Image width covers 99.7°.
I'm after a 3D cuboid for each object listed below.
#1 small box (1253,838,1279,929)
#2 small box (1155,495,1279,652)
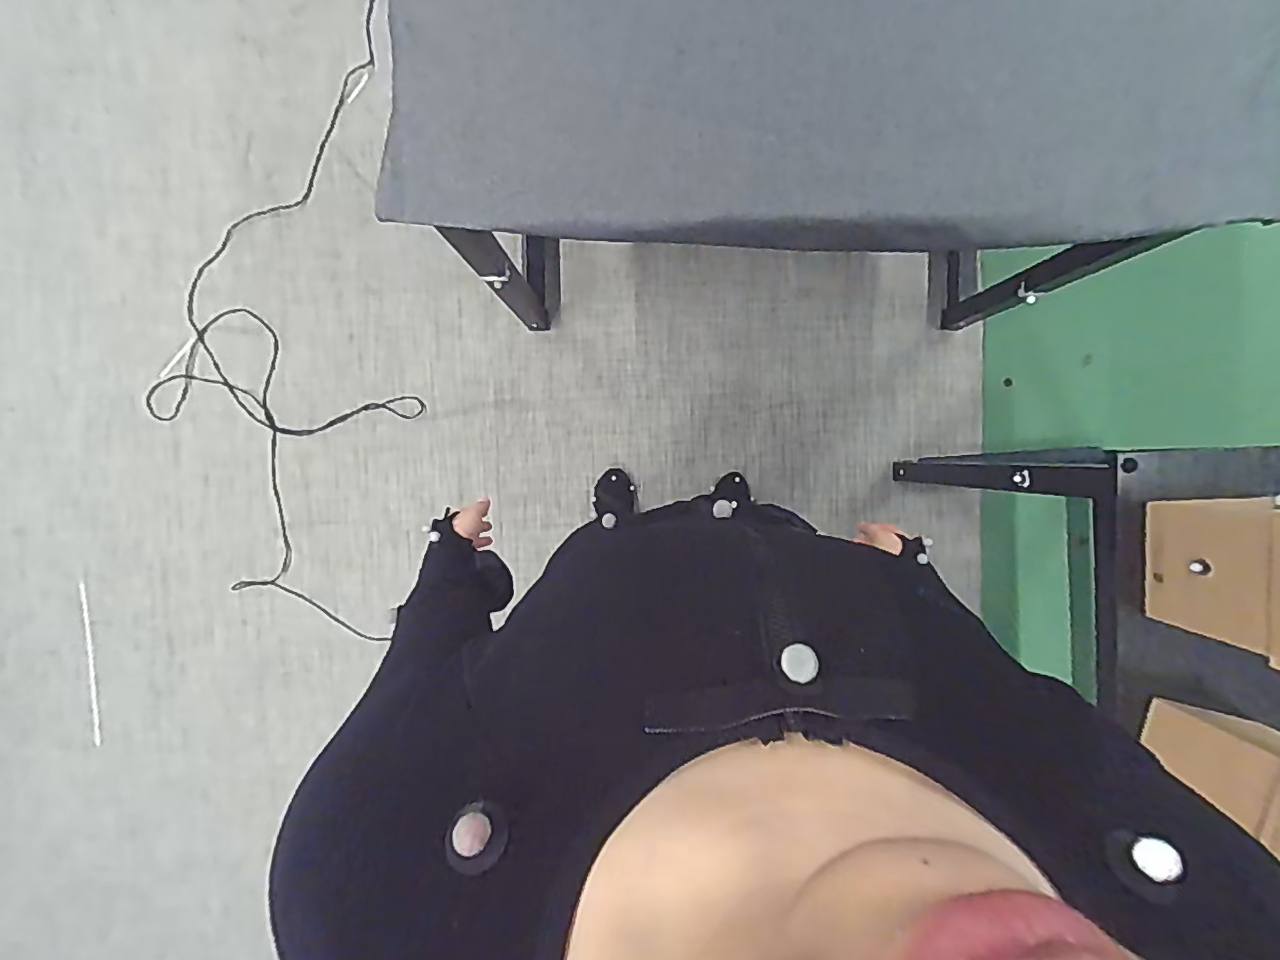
[{"bbox_3d":[0.777,0.428,0.518,0.179,0.176,0.168,16,94,0],"label":"small box"},{"bbox_3d":[0.794,0.109,0.667,0.179,0.176,0.168,-2,94,1],"label":"small box"}]
